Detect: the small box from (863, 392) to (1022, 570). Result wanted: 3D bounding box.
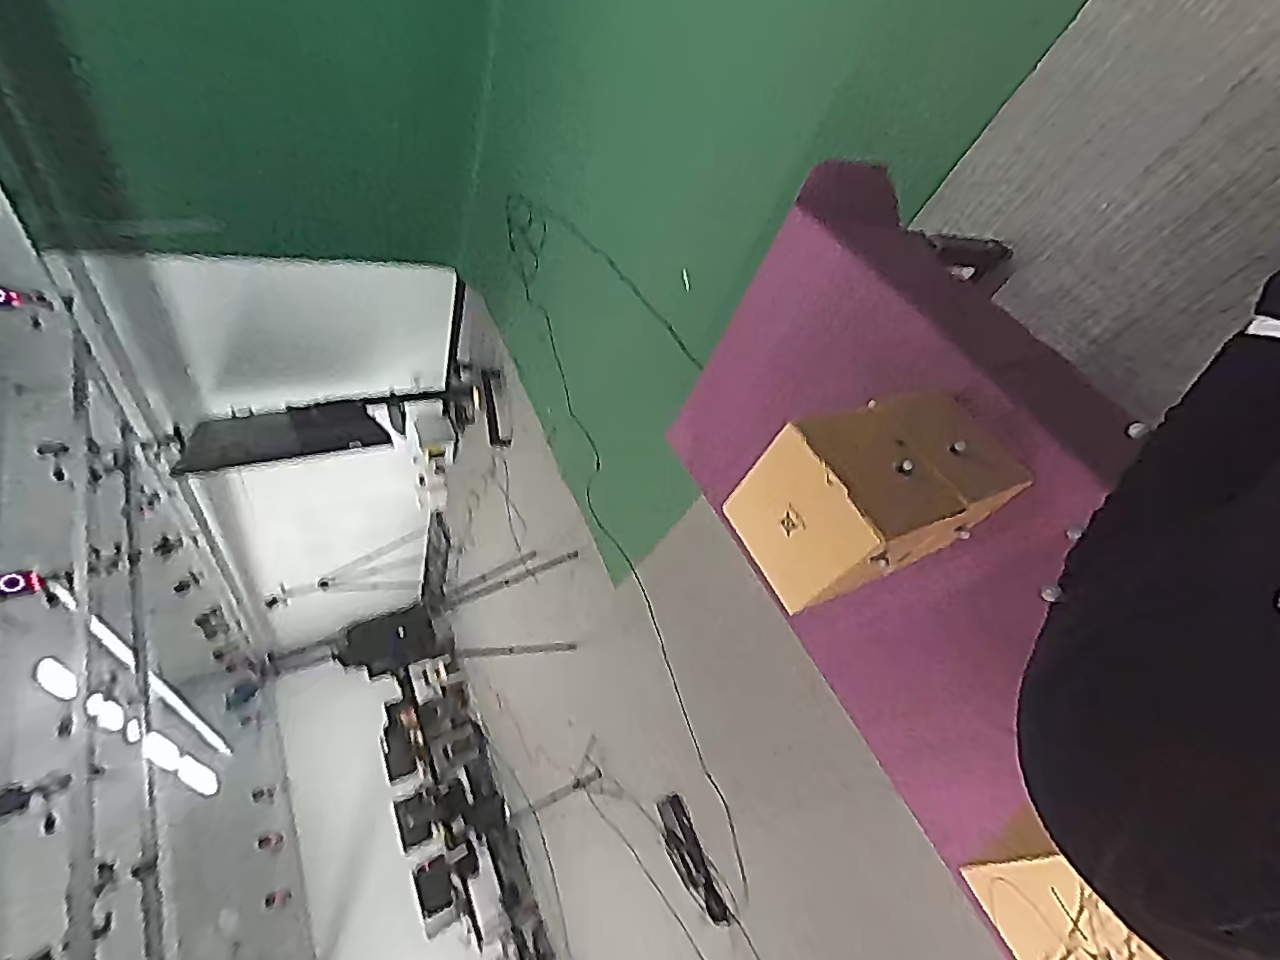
[{"bbox_3d":[0.381,-0.006,0.760,0.179,0.176,0.168,58,143,27],"label":"small box"}]

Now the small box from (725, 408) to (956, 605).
[{"bbox_3d":[0.244,0.029,0.677,0.168,0.176,0.179,60,144,27],"label":"small box"}]
